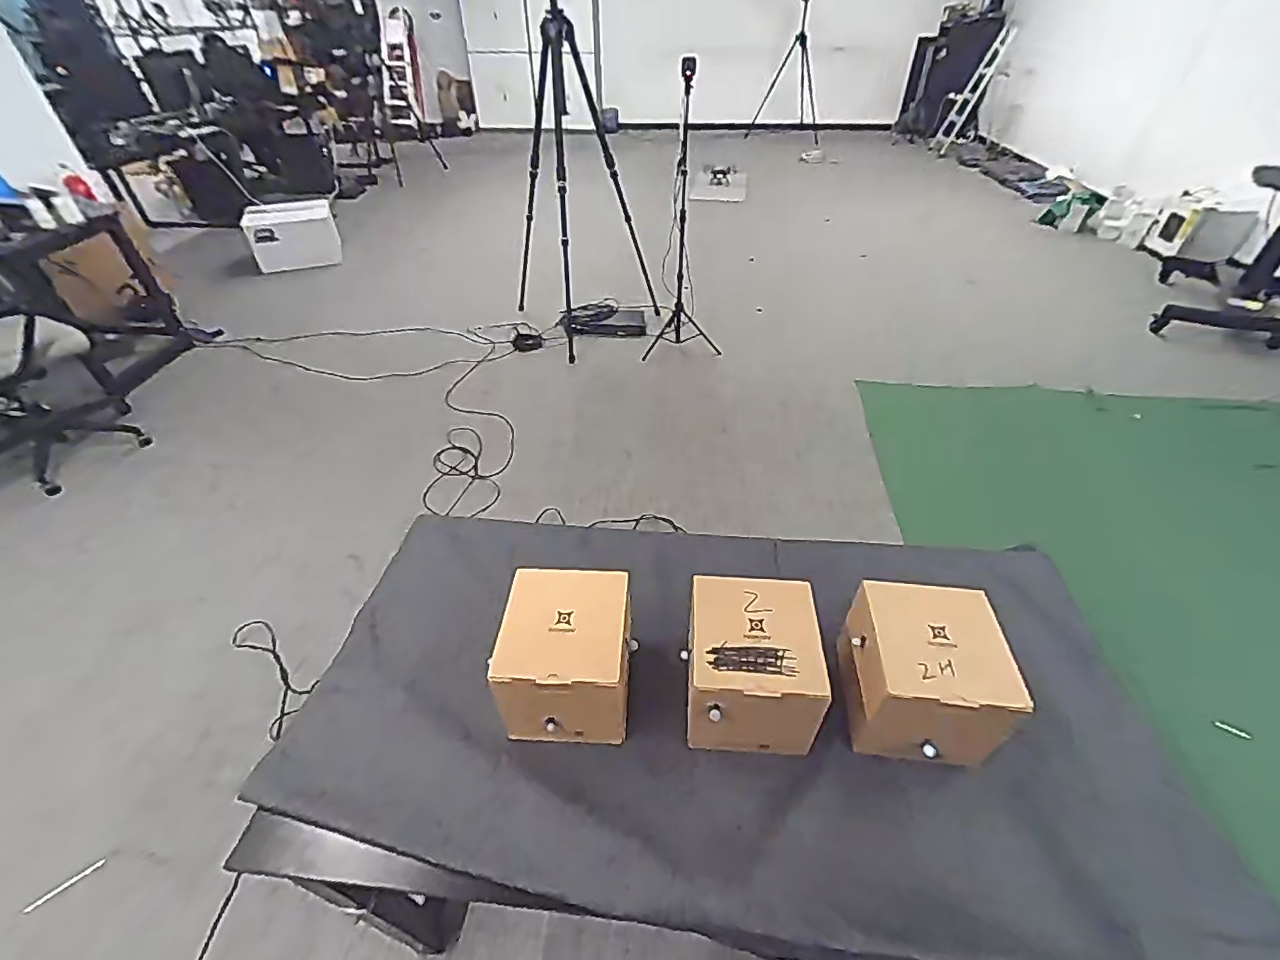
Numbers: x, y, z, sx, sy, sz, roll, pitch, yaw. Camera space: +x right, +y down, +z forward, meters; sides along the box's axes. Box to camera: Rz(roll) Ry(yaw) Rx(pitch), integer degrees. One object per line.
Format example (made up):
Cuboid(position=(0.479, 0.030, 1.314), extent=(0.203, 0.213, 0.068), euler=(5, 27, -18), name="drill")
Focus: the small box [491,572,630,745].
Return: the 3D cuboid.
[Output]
Cuboid(position=(-0.102, 0.257, 0.785), extent=(0.168, 0.176, 0.179), euler=(2, 42, 2), name="small box")
